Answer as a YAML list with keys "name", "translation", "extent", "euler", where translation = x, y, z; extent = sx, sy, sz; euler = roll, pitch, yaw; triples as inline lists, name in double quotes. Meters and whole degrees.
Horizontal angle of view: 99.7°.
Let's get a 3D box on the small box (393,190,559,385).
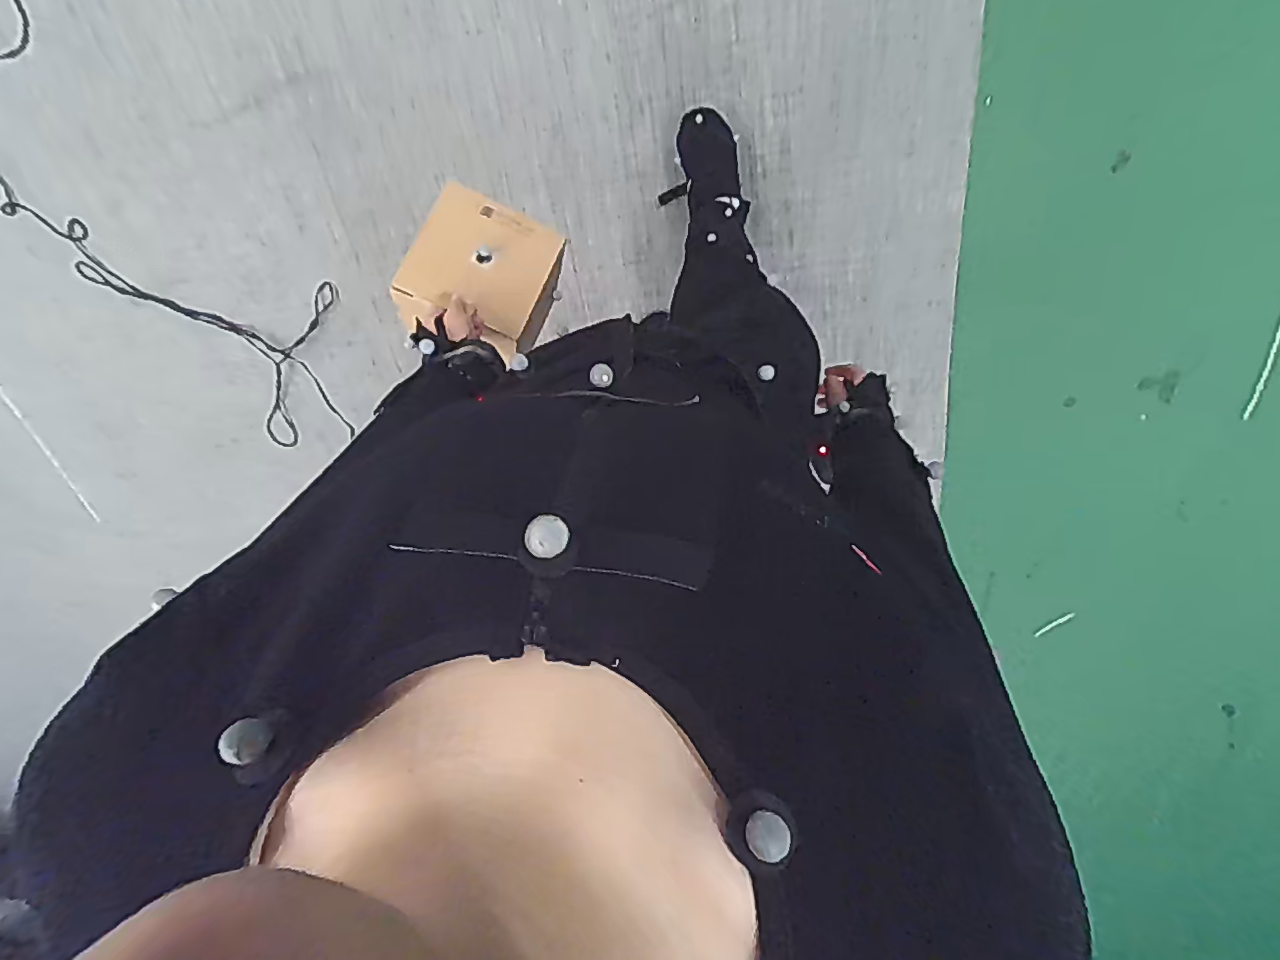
- name: "small box"
  translation: [-0.223, -0.265, 0.767]
  extent: [0.168, 0.179, 0.176]
  euler: [21, 76, -9]
